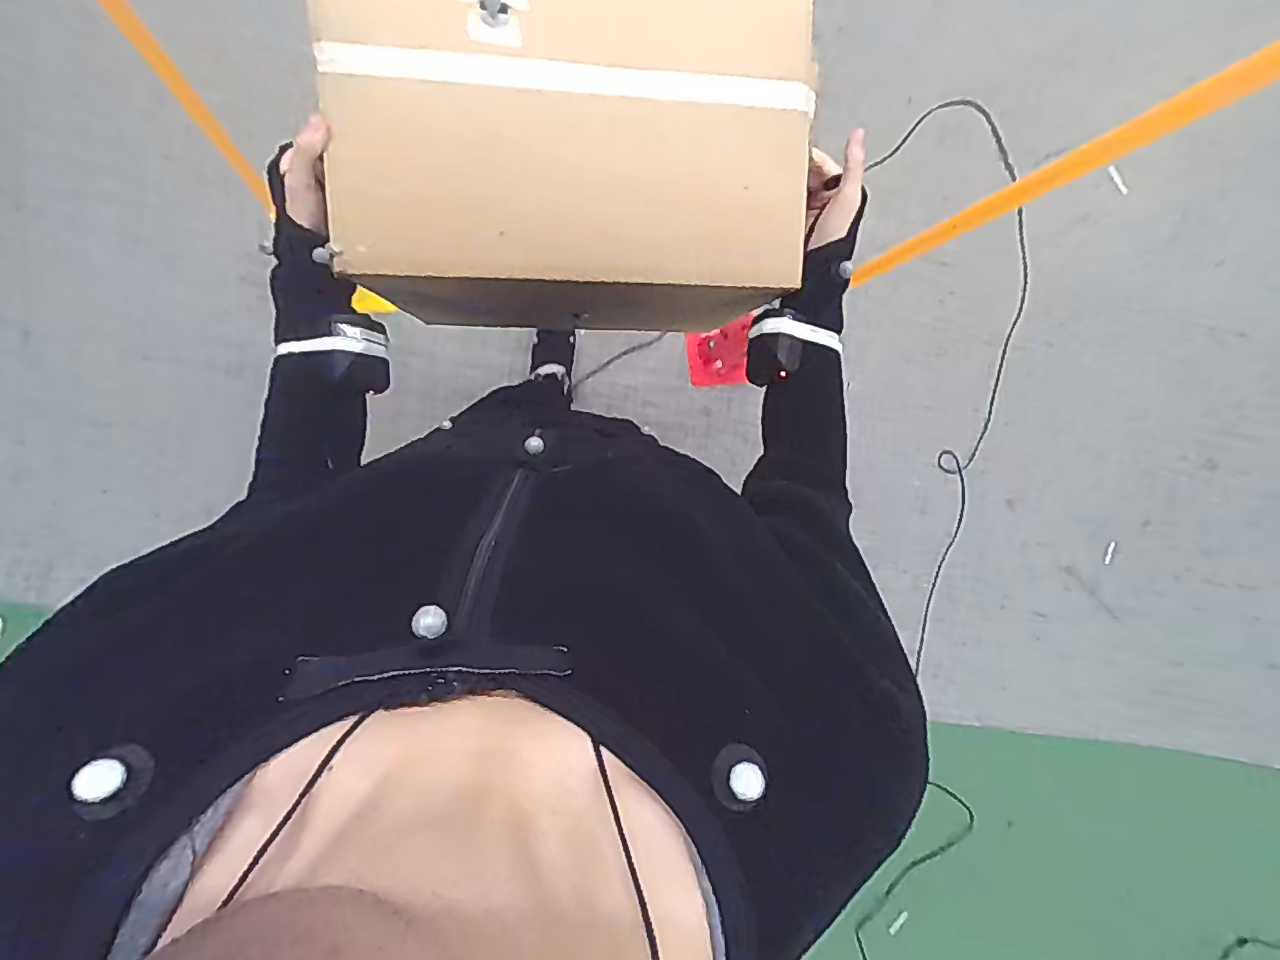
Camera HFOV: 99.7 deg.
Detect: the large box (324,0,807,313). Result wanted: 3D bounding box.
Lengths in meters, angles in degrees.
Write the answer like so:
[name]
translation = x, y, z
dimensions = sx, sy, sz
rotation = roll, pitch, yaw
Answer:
[large box]
translation = -0.069, -0.362, 0.601
dimensions = 0.408, 0.320, 0.320
rotation = -1, 99, -8
